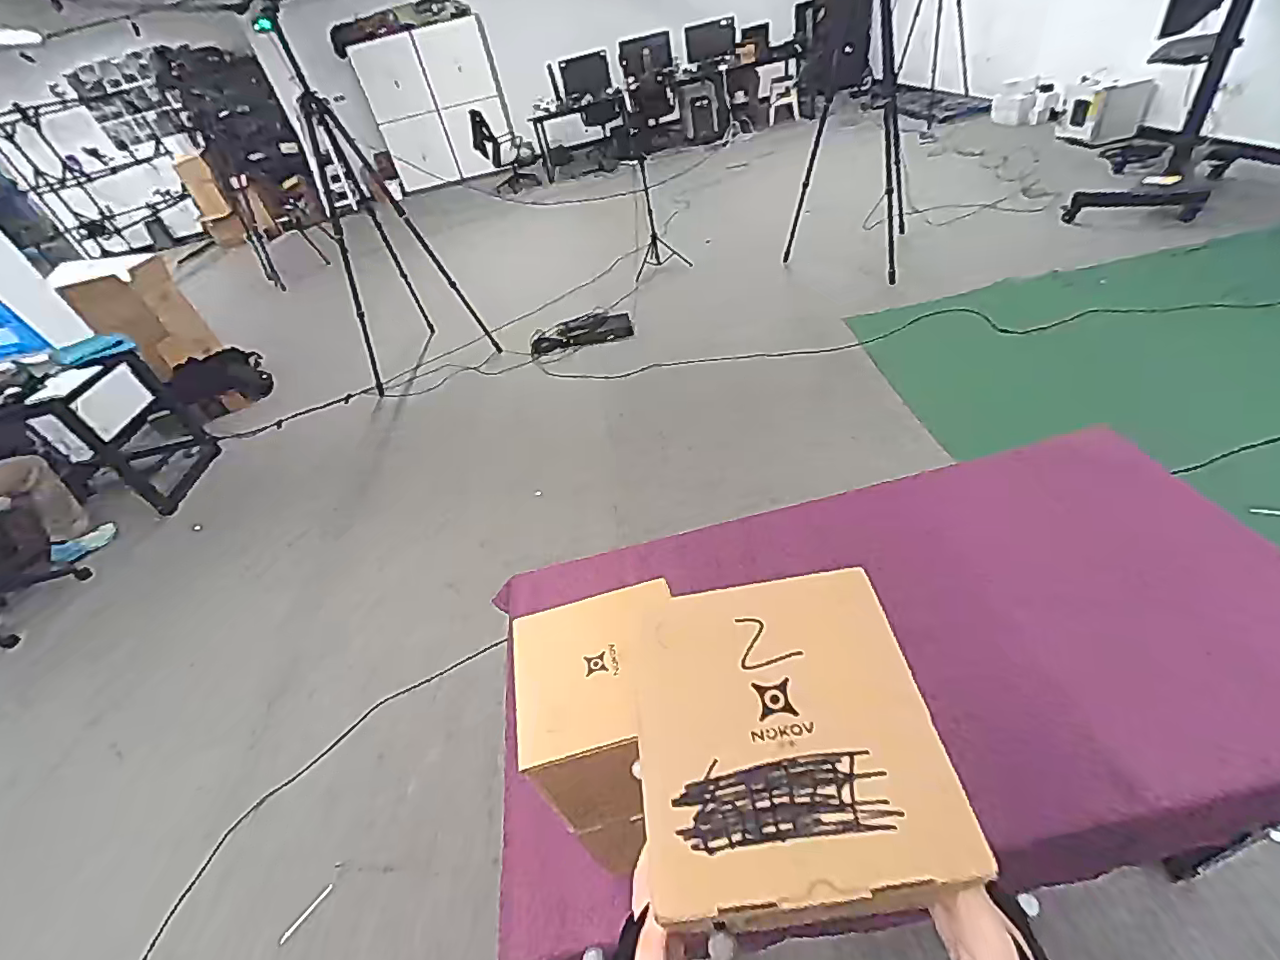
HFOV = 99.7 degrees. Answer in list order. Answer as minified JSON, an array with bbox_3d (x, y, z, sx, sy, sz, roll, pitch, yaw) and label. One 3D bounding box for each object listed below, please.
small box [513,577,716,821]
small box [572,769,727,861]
[{"bbox_3d":[-0.027,0.239,0.589,0.179,0.176,0.168,-15,41,-4],"label":"small box"},{"bbox_3d":[0.007,0.359,0.693,0.168,0.176,0.179,-14,40,-1],"label":"small box"}]
